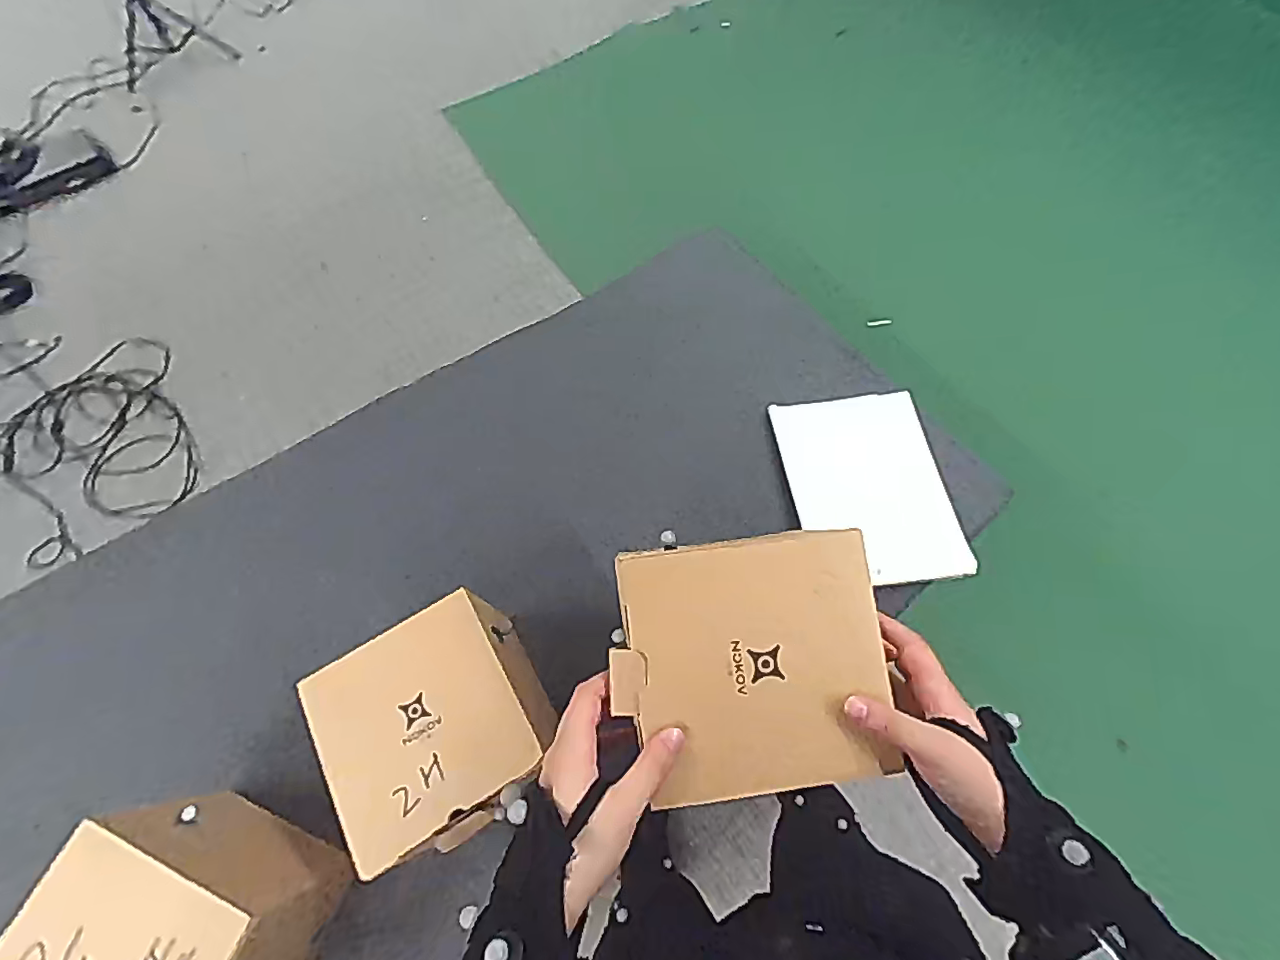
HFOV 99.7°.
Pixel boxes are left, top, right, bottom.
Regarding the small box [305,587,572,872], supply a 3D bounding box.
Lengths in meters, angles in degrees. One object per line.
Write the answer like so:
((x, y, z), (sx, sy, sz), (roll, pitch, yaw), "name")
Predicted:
((-0.187, 0.238, 0.543), (0.168, 0.176, 0.179), (-31, 69, -10), "small box")
